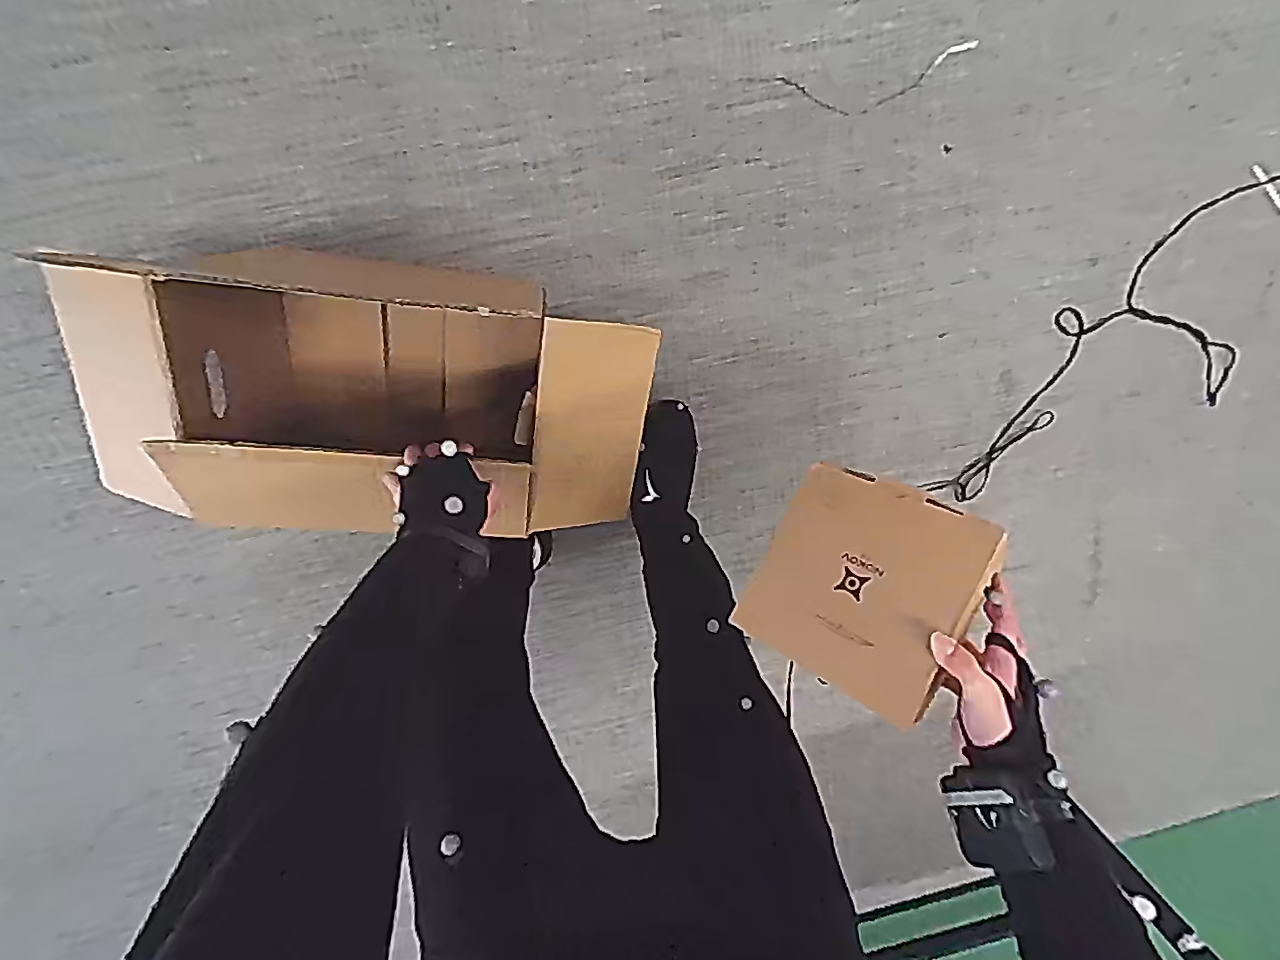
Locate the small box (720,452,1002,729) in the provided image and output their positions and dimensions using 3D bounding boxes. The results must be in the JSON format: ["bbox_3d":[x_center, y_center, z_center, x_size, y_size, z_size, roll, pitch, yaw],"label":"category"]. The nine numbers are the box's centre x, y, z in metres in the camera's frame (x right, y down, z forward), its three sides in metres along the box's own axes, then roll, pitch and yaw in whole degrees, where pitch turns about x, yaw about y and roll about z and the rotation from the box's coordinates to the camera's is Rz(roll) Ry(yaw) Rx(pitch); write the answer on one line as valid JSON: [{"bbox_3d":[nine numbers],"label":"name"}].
[{"bbox_3d":[0.211,0.104,0.510,0.176,0.168,0.179,31,88,-52],"label":"small box"}]
